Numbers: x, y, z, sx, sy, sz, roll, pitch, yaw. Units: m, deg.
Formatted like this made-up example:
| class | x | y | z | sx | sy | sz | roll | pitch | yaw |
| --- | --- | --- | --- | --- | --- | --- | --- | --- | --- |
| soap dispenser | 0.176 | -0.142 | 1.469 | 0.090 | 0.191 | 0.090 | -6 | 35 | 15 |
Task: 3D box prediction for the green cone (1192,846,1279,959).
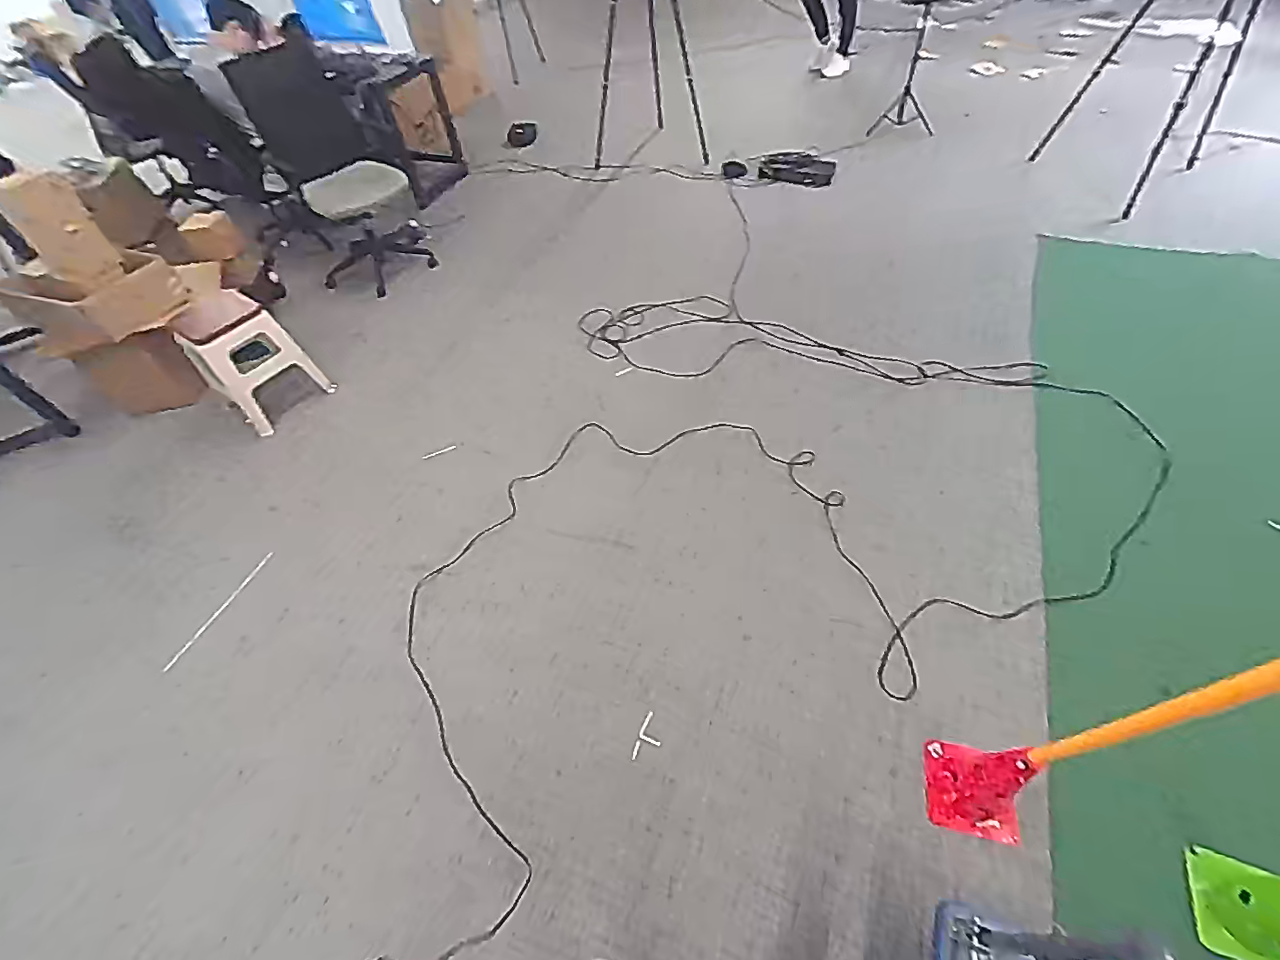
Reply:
| class | x | y | z | sx | sy | sz | roll | pitch | yaw |
| --- | --- | --- | --- | --- | --- | --- | --- | --- | --- |
| green cone | 1.290 | 0.811 | 1.010 | 0.202 | 0.368 | 0.200 | 16 | 54 | 17 |
